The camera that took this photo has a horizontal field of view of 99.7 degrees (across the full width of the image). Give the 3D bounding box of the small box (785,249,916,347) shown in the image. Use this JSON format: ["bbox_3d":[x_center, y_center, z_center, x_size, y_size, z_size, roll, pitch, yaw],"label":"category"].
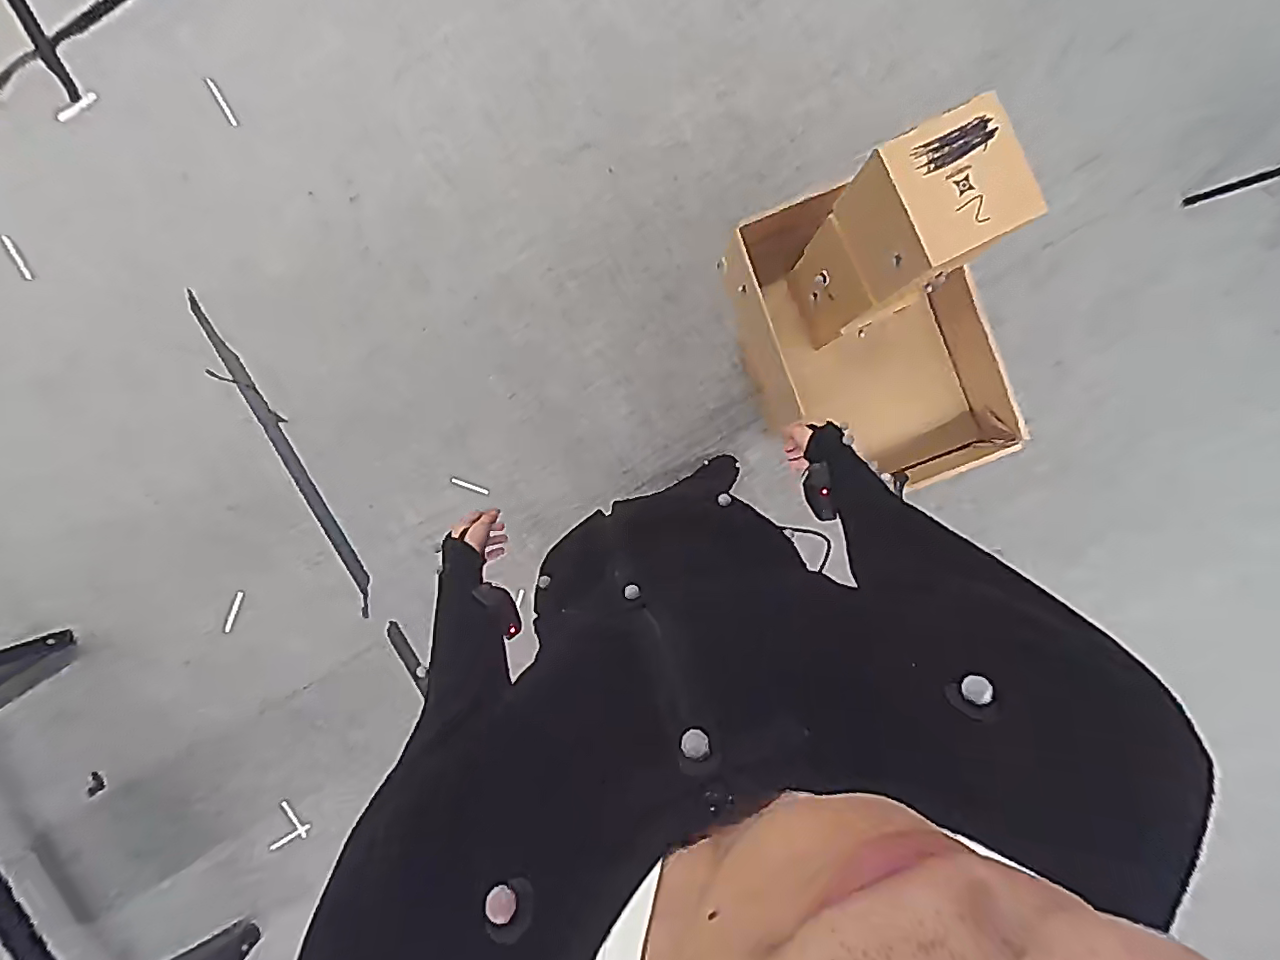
[{"bbox_3d":[0.418,-0.395,1.105,0.168,0.176,0.179,-24,93,3],"label":"small box"}]

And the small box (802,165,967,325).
[{"bbox_3d":[0.412,-0.395,0.942,0.179,0.176,0.168,-27,92,2],"label":"small box"}]
